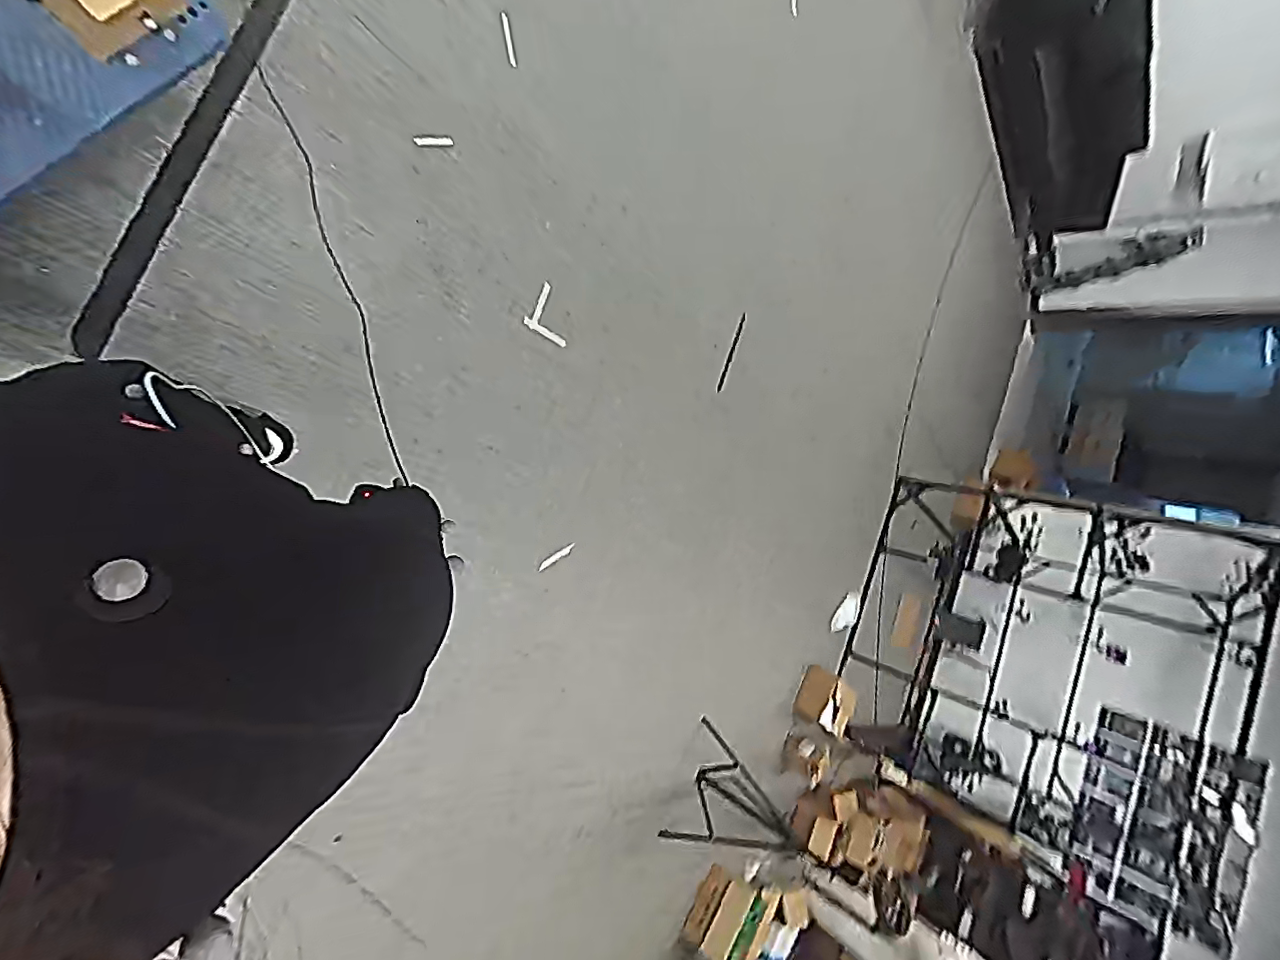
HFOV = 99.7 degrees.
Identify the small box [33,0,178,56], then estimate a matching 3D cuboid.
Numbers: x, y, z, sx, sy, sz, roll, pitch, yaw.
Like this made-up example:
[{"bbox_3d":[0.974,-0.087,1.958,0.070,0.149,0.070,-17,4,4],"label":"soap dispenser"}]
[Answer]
[{"bbox_3d":[-0.817,-0.778,0.793,0.179,0.176,0.168,-56,133,-18],"label":"small box"}]
